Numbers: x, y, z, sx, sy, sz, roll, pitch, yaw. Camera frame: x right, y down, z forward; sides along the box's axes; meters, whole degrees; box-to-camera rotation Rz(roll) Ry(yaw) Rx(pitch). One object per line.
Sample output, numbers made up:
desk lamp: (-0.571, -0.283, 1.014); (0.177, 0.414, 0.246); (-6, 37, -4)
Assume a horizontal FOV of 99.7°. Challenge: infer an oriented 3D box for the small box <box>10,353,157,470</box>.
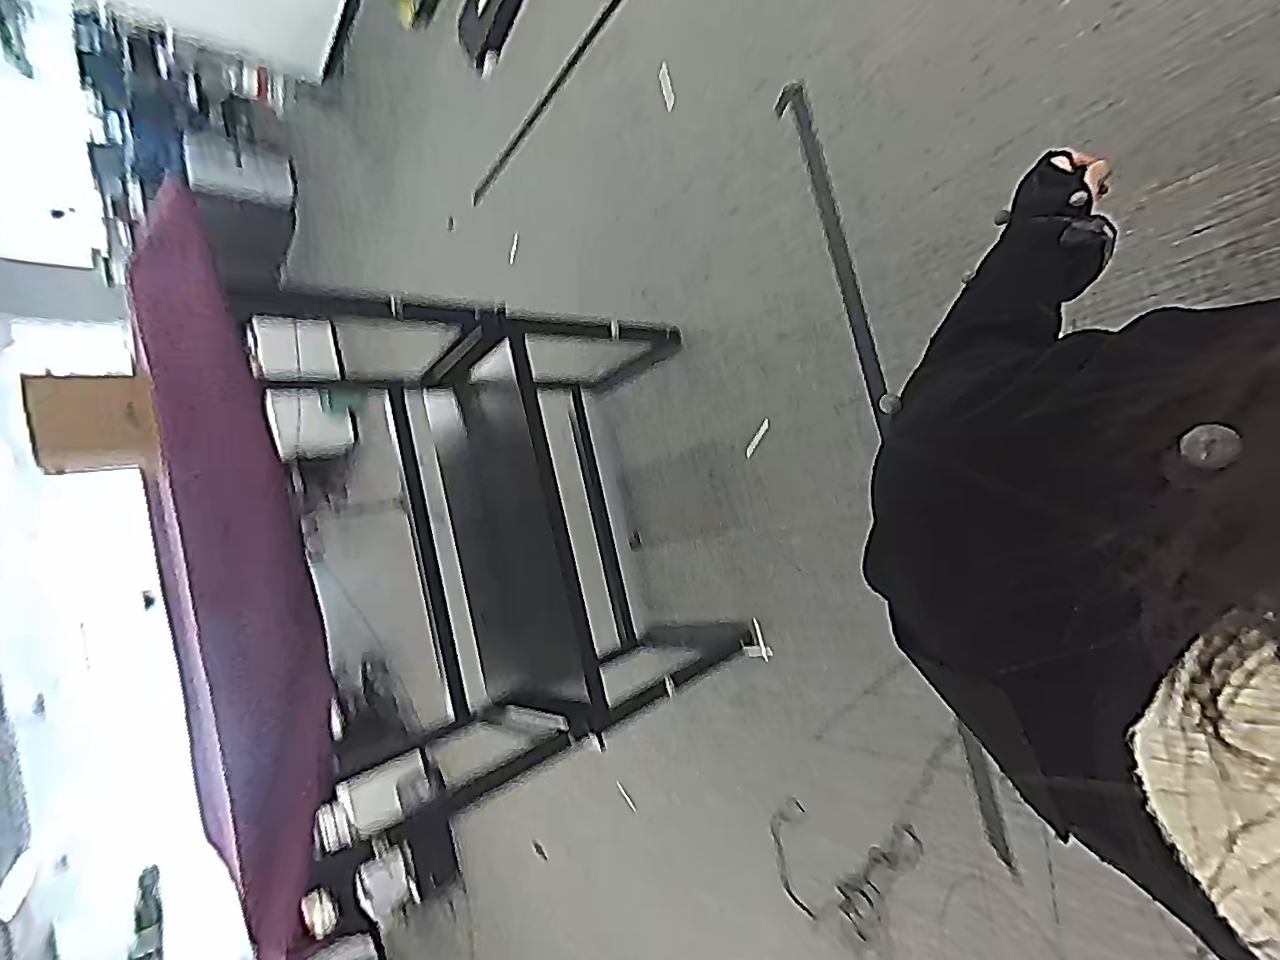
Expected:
small box: (-1.036, -0.124, 1.018); (0.168, 0.176, 0.179); (-17, 85, 47)
